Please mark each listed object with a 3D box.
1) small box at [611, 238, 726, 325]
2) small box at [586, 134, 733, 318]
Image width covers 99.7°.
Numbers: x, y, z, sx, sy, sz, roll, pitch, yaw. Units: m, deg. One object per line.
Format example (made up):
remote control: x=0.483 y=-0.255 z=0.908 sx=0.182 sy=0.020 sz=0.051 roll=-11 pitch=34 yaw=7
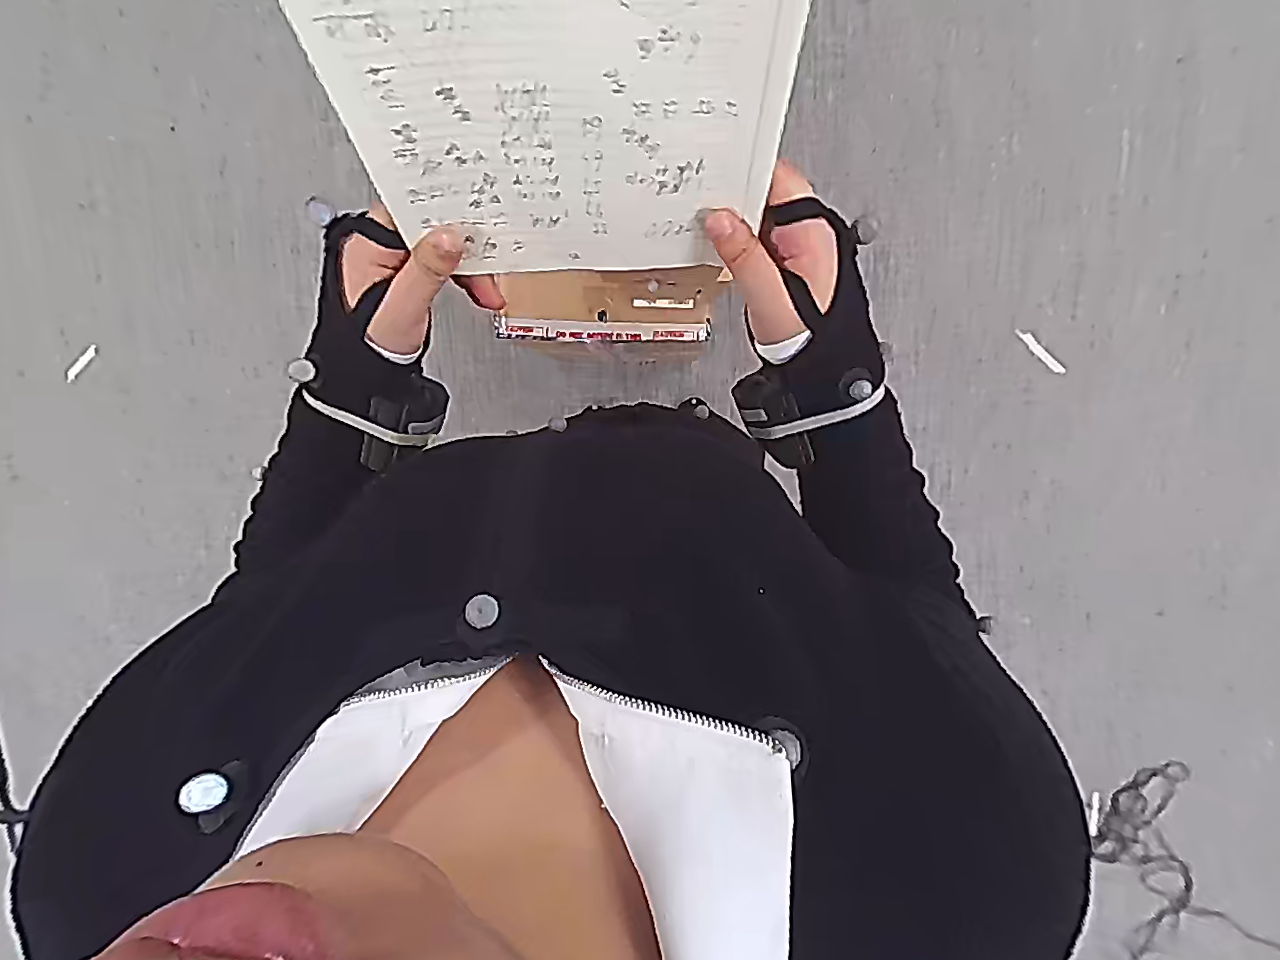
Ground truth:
small box: x=0.040 y=-0.350 z=0.883 sx=0.179 sy=0.176 sz=0.168 roll=0 pitch=98 yaw=1
small box: x=0.021 y=-0.323 z=0.721 sx=0.168 sy=0.176 sz=0.179 roll=4 pitch=100 yaw=-1
